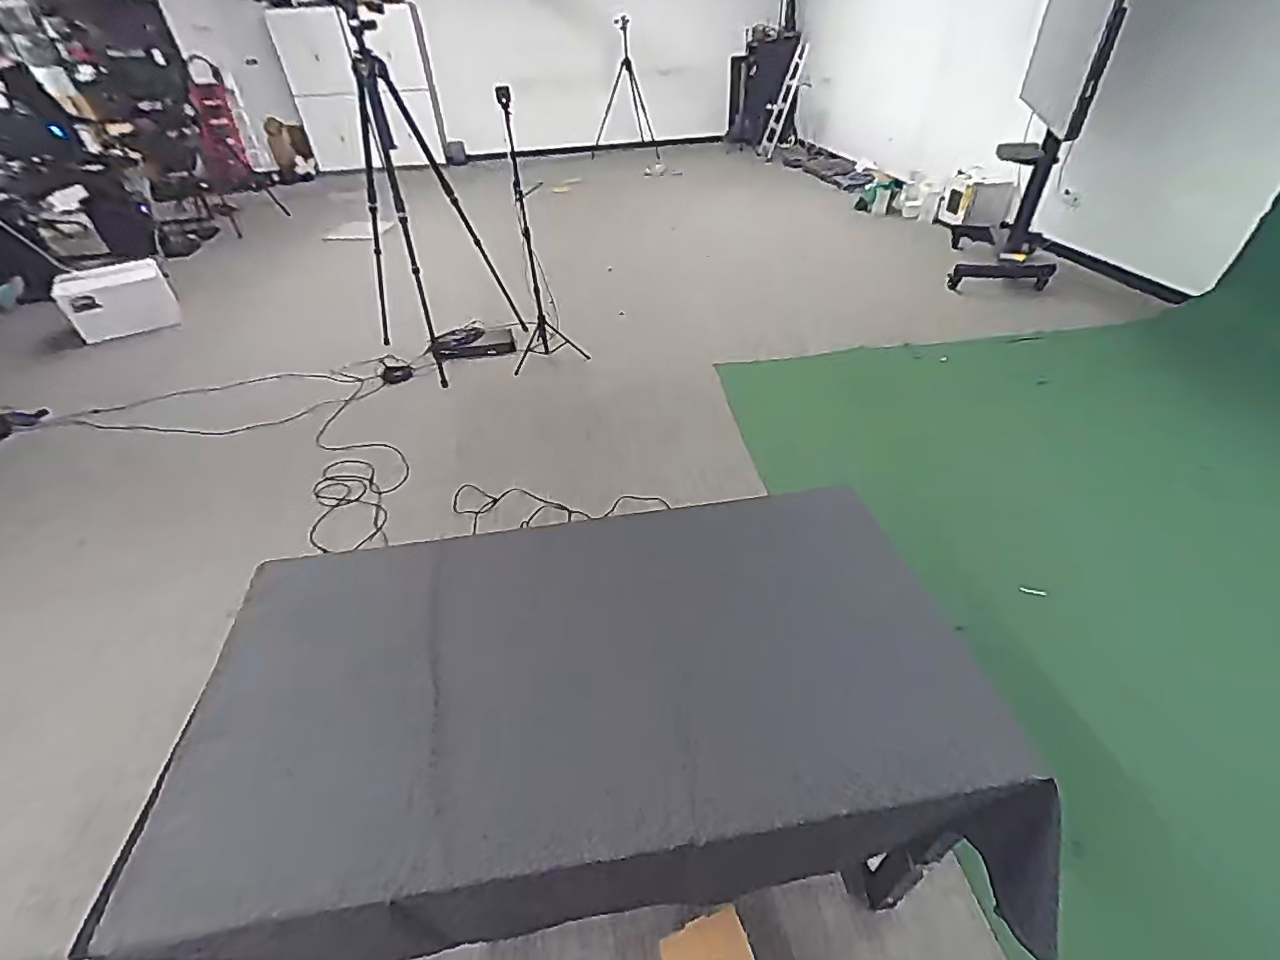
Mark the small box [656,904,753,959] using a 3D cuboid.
[{"bbox_3d":[0.136,0.976,1.046,0.168,0.176,0.179,-15,41,-13],"label":"small box"}]
